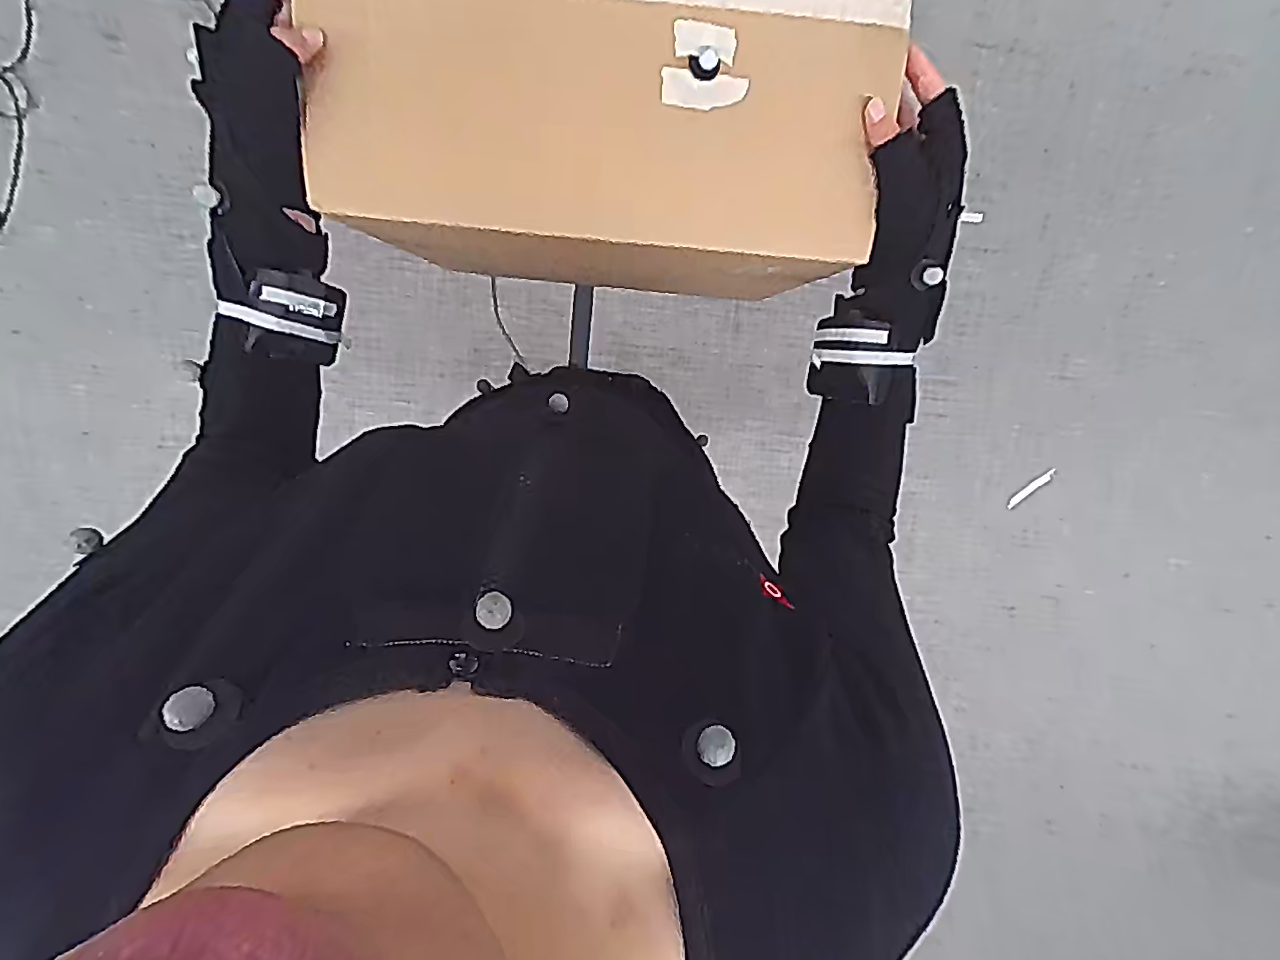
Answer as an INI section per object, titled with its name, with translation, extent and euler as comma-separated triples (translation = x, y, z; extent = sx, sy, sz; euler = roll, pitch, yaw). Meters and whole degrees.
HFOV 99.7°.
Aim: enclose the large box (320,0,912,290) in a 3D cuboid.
[large box]
translation = -0.019, -0.367, 0.505
extent = 0.408, 0.320, 0.320
euler = 4, 104, -4
